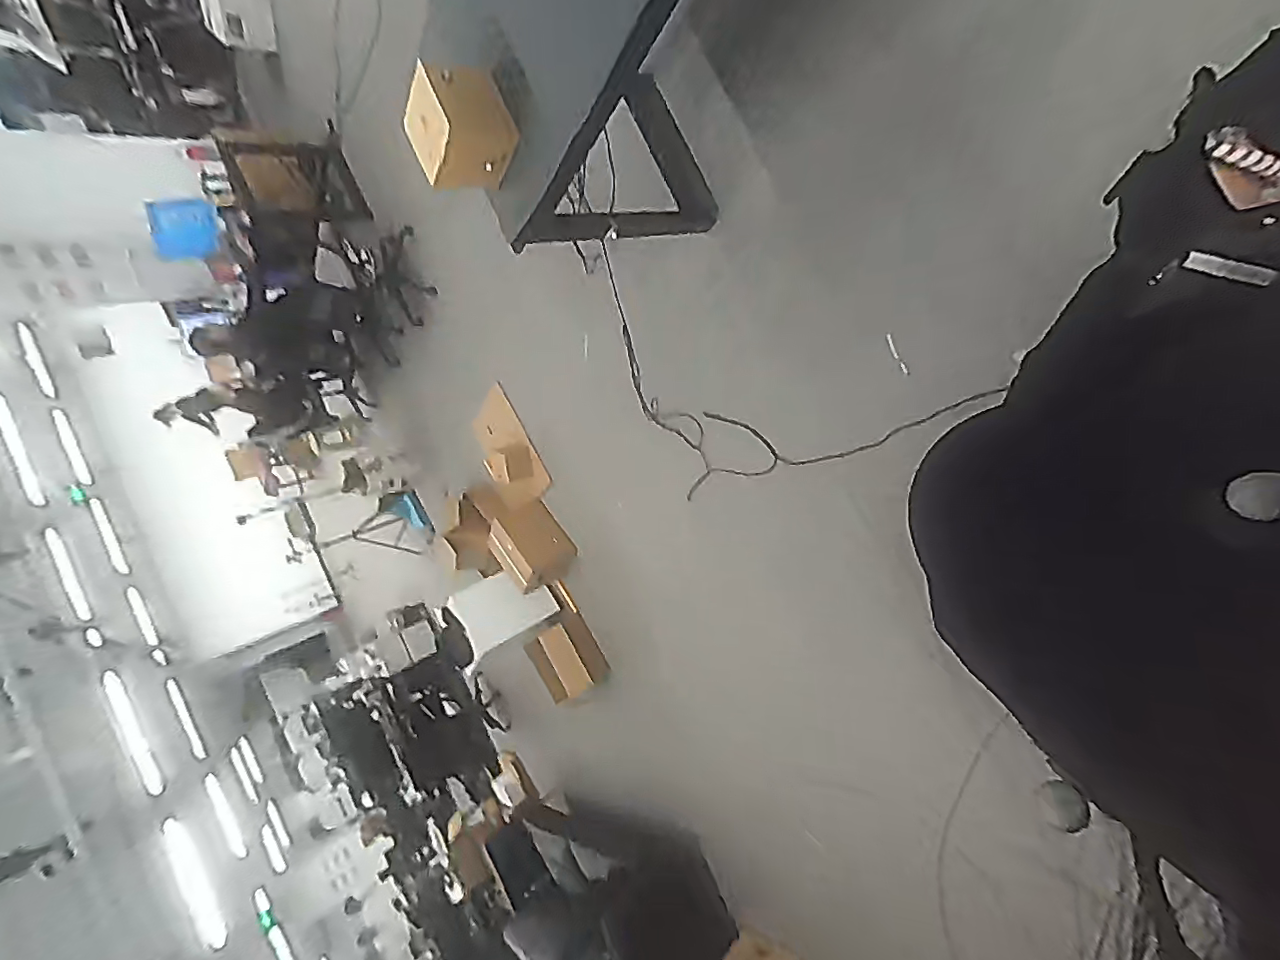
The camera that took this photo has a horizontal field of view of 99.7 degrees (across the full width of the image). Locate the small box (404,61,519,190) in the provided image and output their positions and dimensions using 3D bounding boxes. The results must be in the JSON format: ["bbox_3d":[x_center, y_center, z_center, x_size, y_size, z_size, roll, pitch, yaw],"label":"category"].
[{"bbox_3d":[-0.403,-0.784,1.219,0.168,0.176,0.179,-32,81,51],"label":"small box"}]
